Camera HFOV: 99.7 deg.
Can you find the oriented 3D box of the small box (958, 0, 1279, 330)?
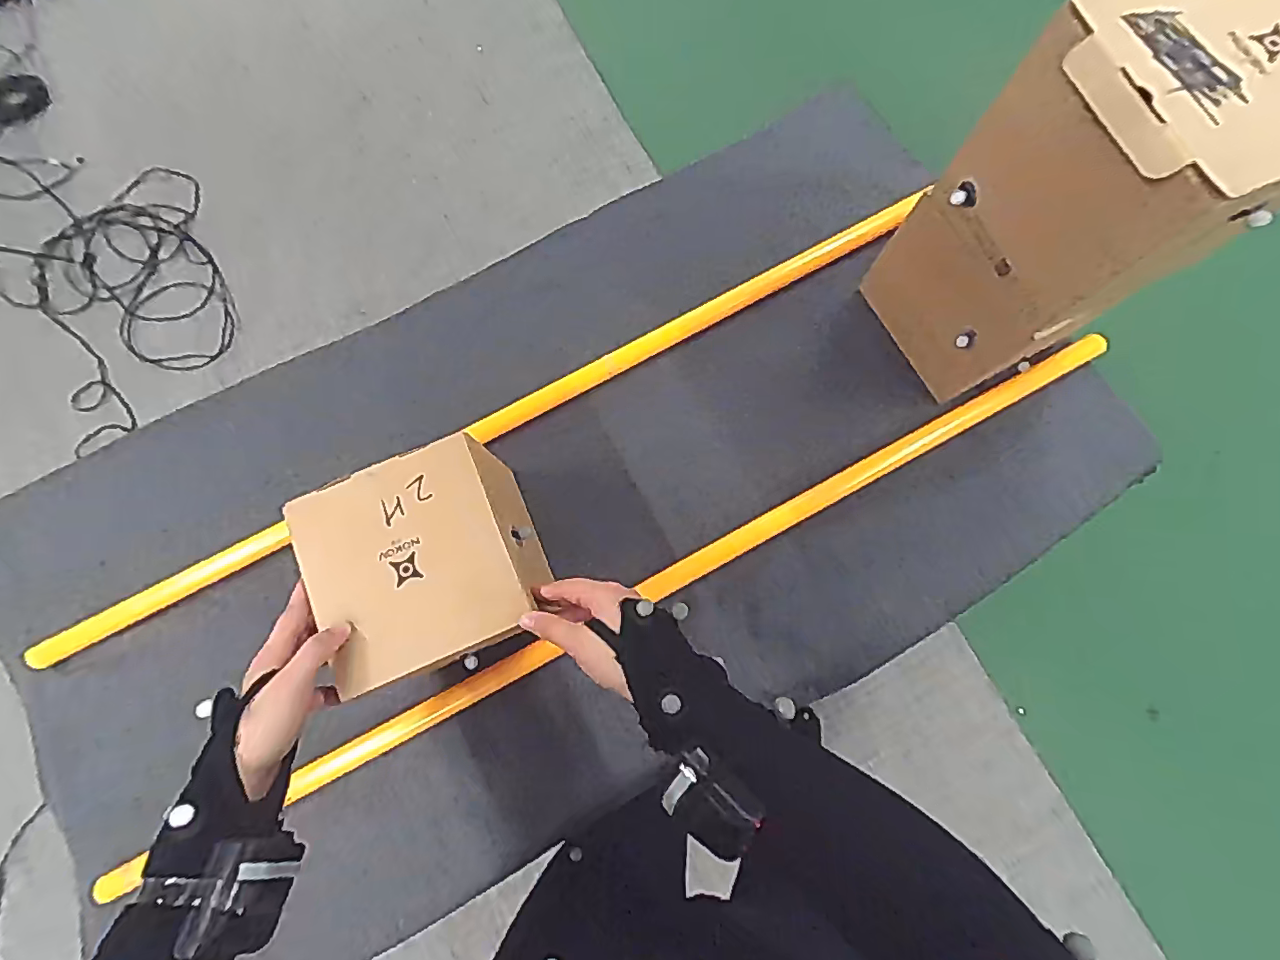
[{"bbox_3d":[0.381,-0.243,0.409,0.179,0.176,0.168,-24,79,-4],"label":"small box"}]
